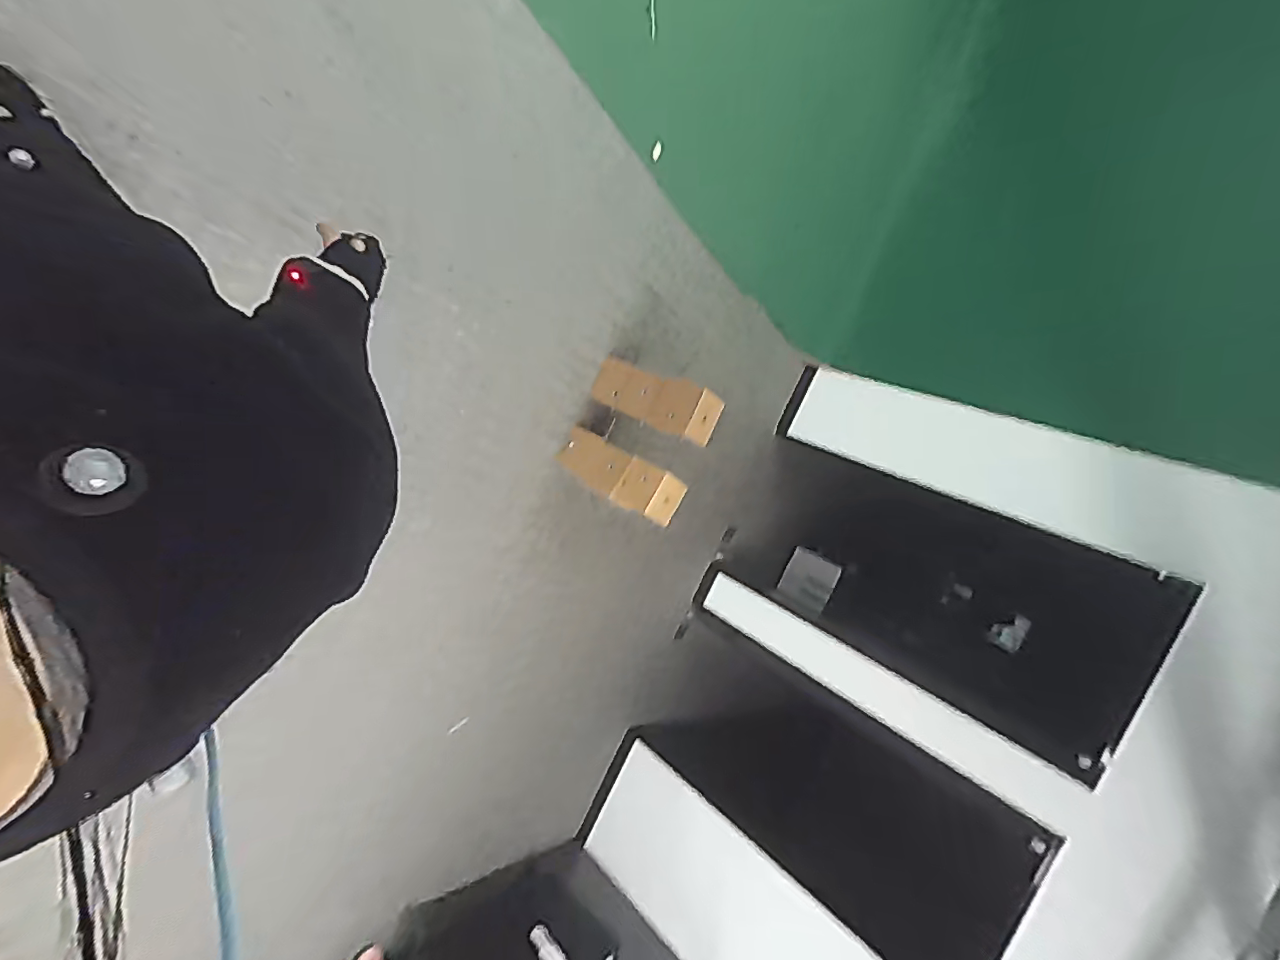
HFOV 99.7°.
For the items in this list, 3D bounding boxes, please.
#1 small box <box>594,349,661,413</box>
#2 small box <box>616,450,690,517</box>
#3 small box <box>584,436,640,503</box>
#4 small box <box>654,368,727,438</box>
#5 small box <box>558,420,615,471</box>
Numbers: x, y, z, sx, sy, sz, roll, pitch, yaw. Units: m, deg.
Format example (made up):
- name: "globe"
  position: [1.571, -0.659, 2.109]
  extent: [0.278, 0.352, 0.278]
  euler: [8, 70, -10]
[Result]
- name: "small box"
  position: [-0.055, -0.390, 2.128]
  extent: [0.168, 0.176, 0.179]
  euler: [22, 94, -55]
- name: "small box"
  position: [0.045, 0.009, 1.948]
  extent: [0.168, 0.176, 0.179]
  euler: [-61, 144, -3]
- name: "small box"
  position: [-0.080, -0.043, 2.039]
  extent: [0.179, 0.176, 0.168]
  euler: [-60, 143, -6]
- name: "small box"
  position: [0.175, -0.274, 1.923]
  extent: [0.168, 0.176, 0.179]
  euler: [20, 95, -54]
- name: "small box"
  position: [-0.189, -0.116, 2.139]
  extent: [0.168, 0.176, 0.179]
  euler: [-60, 143, -6]
